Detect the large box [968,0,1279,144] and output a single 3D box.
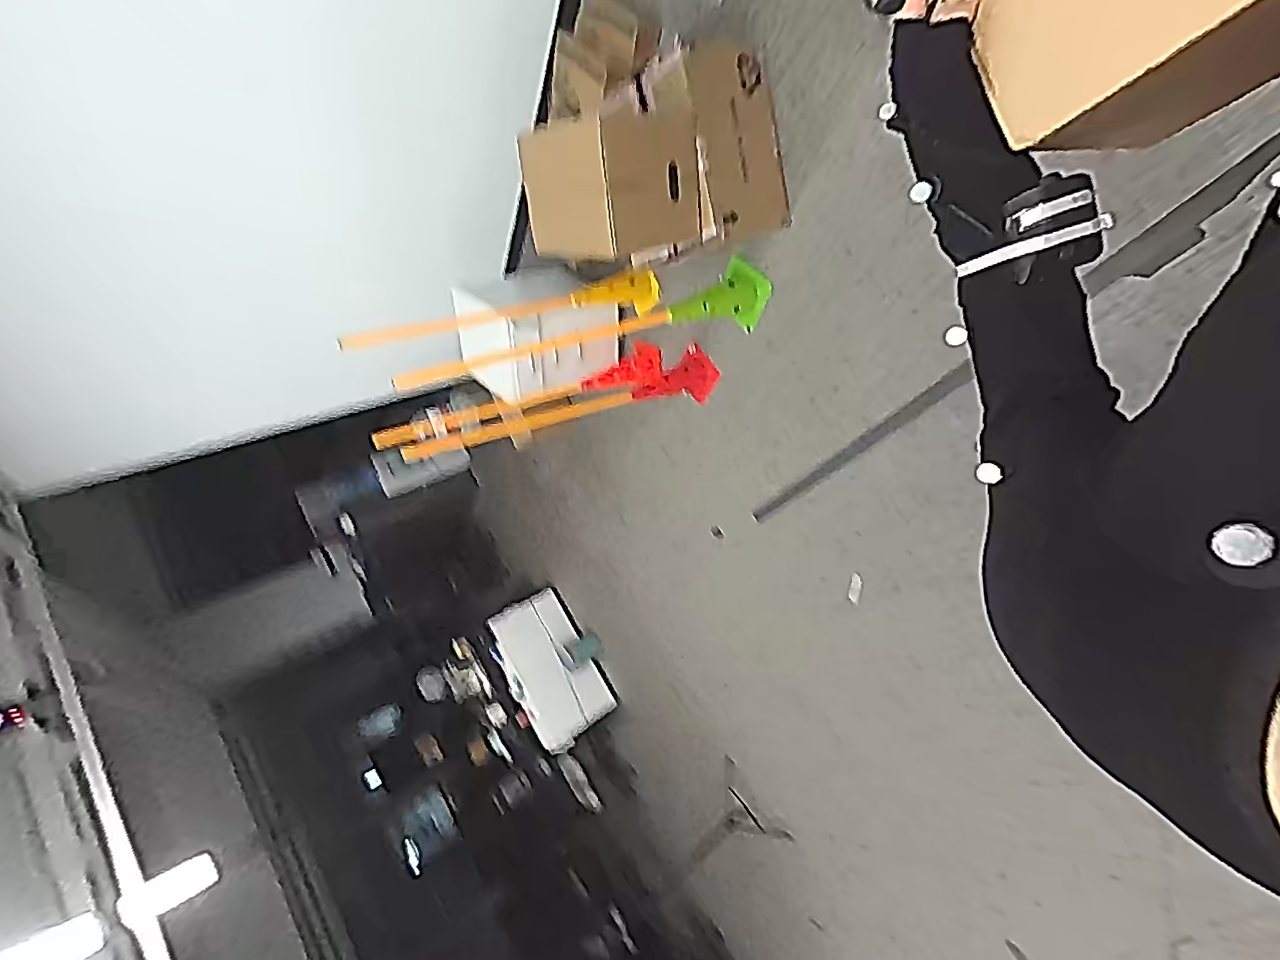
[{"bbox_3d":[0.431,-0.469,0.298,0.408,0.320,0.320,-20,91,58],"label":"large box"}]
